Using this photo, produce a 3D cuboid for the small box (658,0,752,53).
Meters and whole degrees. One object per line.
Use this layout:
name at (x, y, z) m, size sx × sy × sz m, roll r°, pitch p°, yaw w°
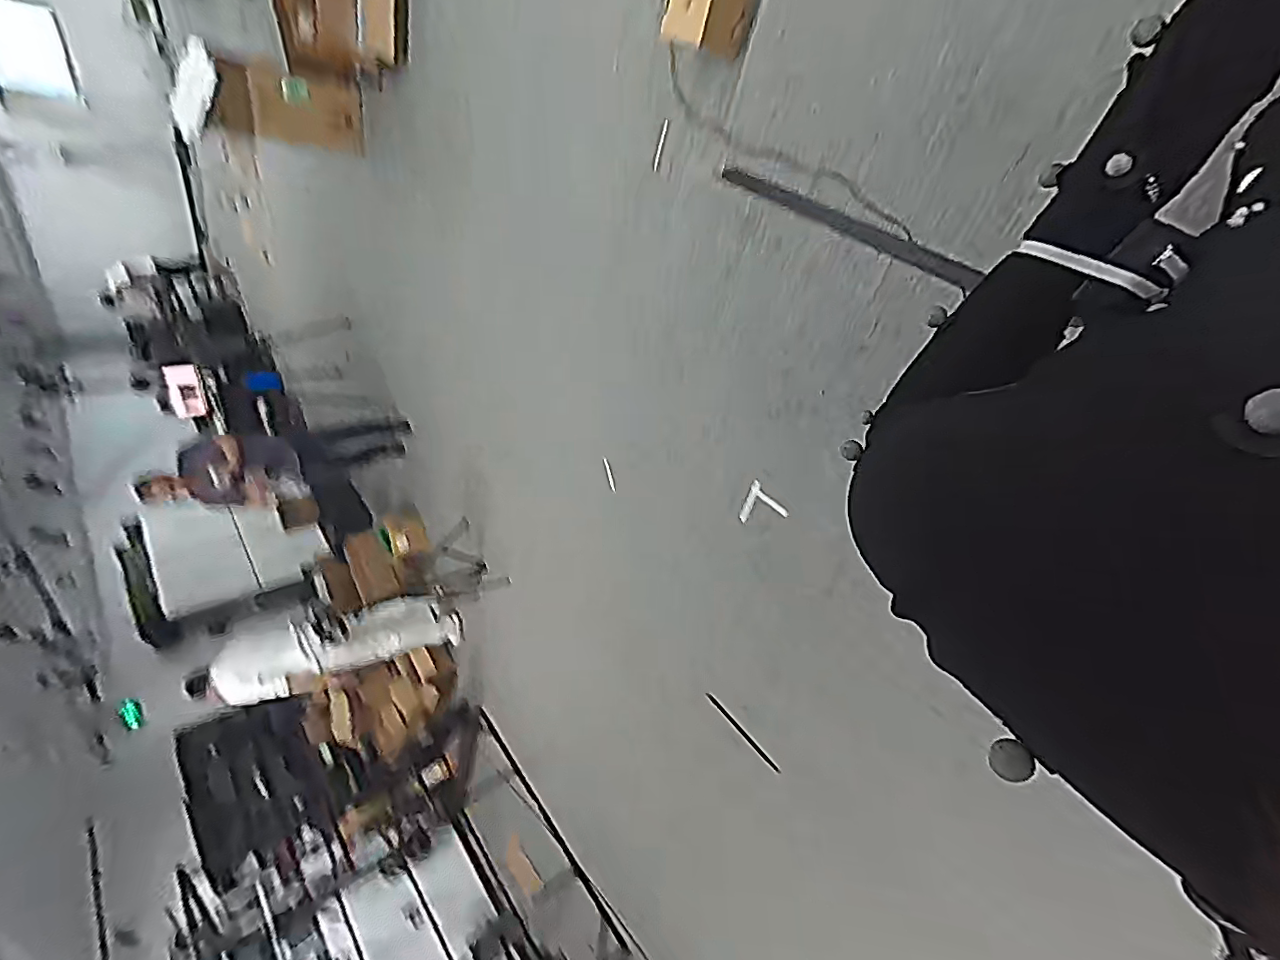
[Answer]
small box at (0.187, -1.342, 1.528) m, size 0.179 × 0.176 × 0.168 m, roll 43°, pitch 133°, yaw 29°
